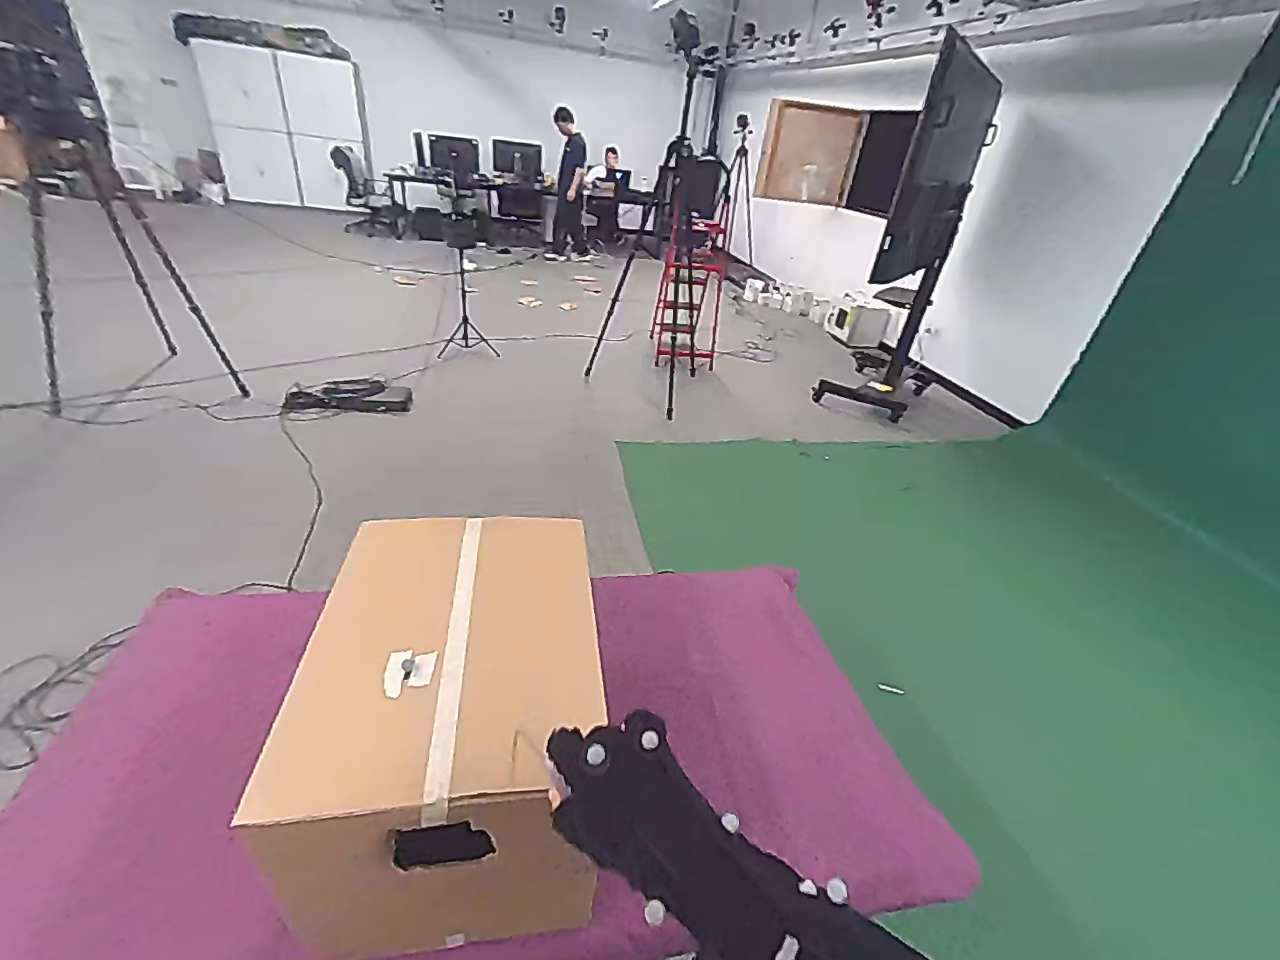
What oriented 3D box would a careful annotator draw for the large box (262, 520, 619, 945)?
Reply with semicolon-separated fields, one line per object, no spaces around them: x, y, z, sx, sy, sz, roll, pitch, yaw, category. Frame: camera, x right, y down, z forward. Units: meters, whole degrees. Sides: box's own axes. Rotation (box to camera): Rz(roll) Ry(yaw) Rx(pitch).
-0.224;0.297;0.720;0.320;0.320;0.408;1;34;-12;large box
